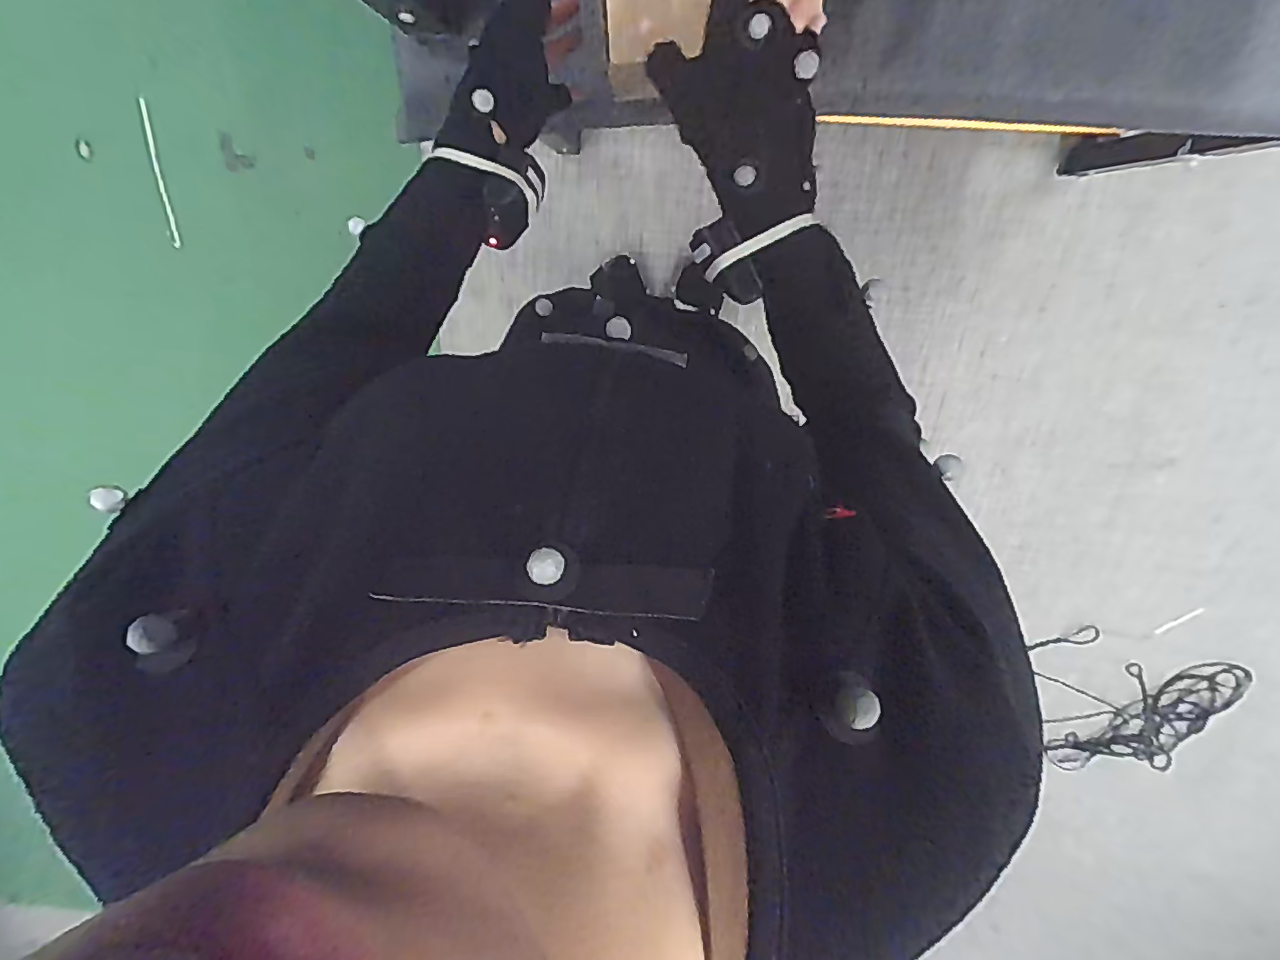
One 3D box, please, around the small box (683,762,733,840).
[{"bbox_3d":[0.241,1.152,1.942,0.168,0.176,0.179,1,113,3],"label":"small box"}]
